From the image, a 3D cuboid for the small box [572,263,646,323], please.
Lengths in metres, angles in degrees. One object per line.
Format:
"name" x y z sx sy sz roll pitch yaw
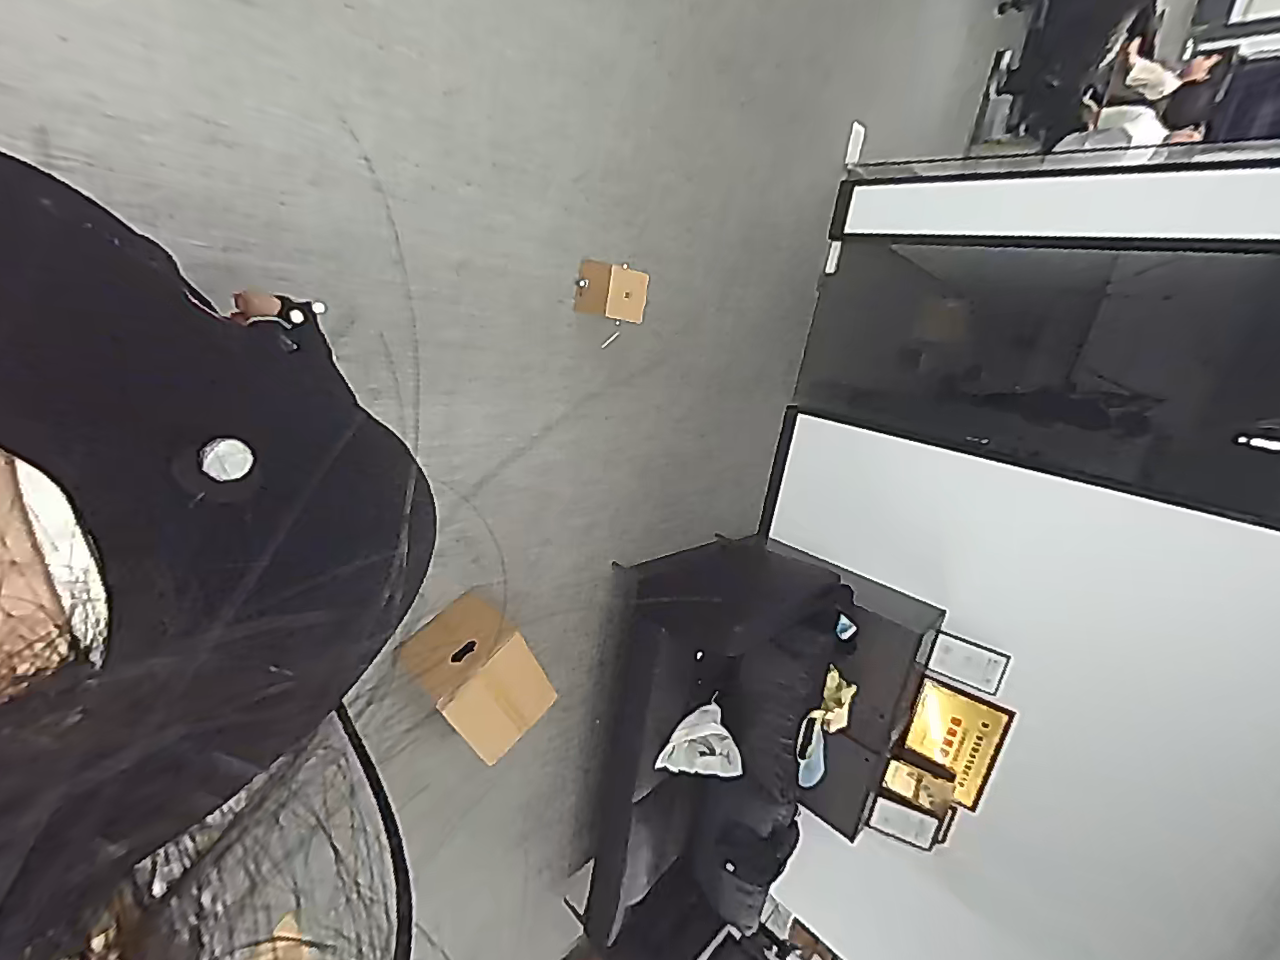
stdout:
"small box" -0.107 -0.644 1.858 0.179 0.176 0.168 -7 112 -46
